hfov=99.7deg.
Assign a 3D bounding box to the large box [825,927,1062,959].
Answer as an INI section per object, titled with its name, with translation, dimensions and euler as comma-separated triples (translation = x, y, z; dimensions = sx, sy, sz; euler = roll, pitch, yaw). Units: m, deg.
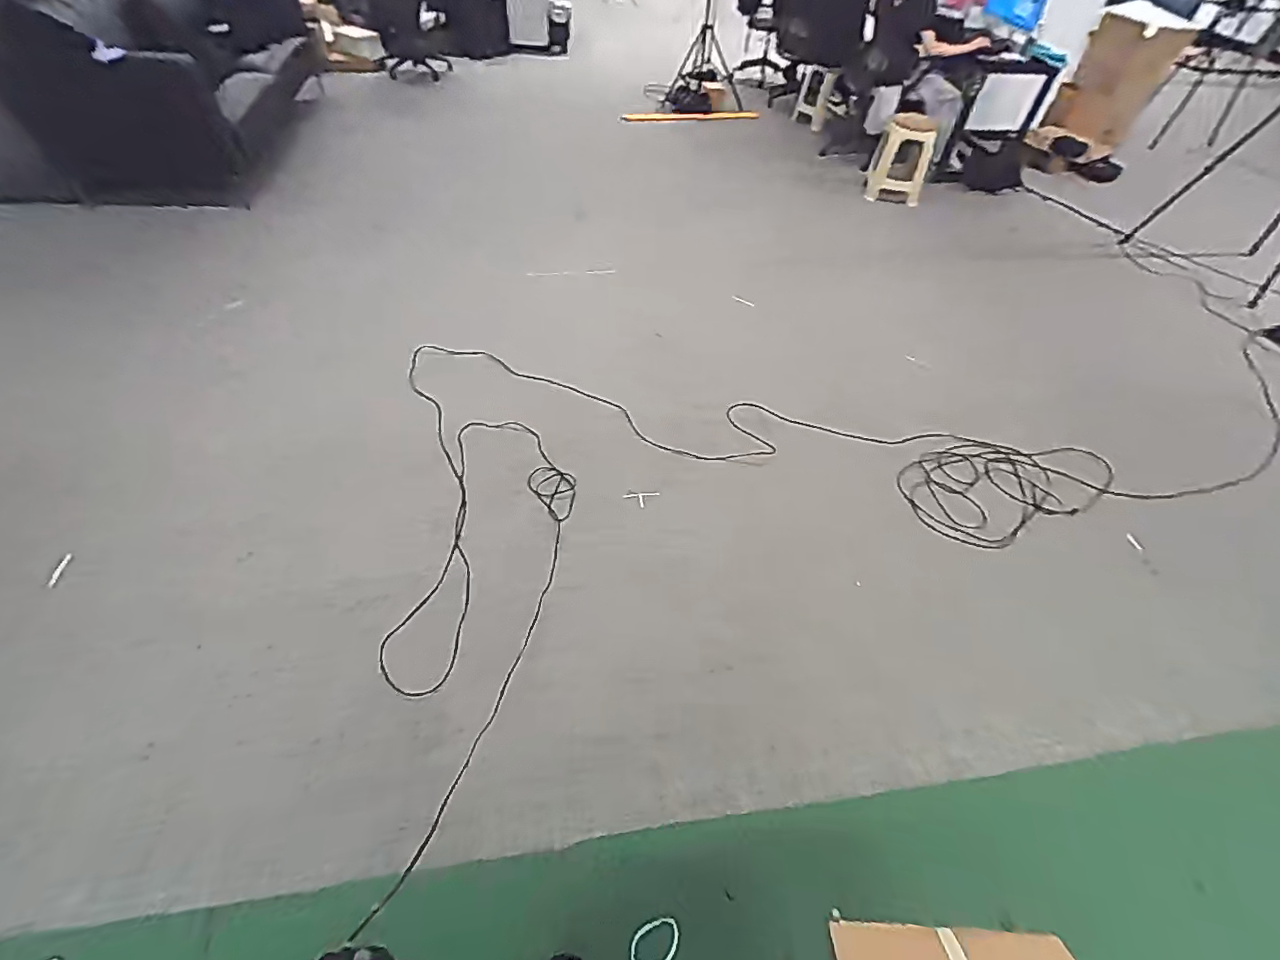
[large box]
translation = 0.410, 0.811, 0.586
dimensions = 0.320, 0.408, 0.320
euler = 0, 94, 6
